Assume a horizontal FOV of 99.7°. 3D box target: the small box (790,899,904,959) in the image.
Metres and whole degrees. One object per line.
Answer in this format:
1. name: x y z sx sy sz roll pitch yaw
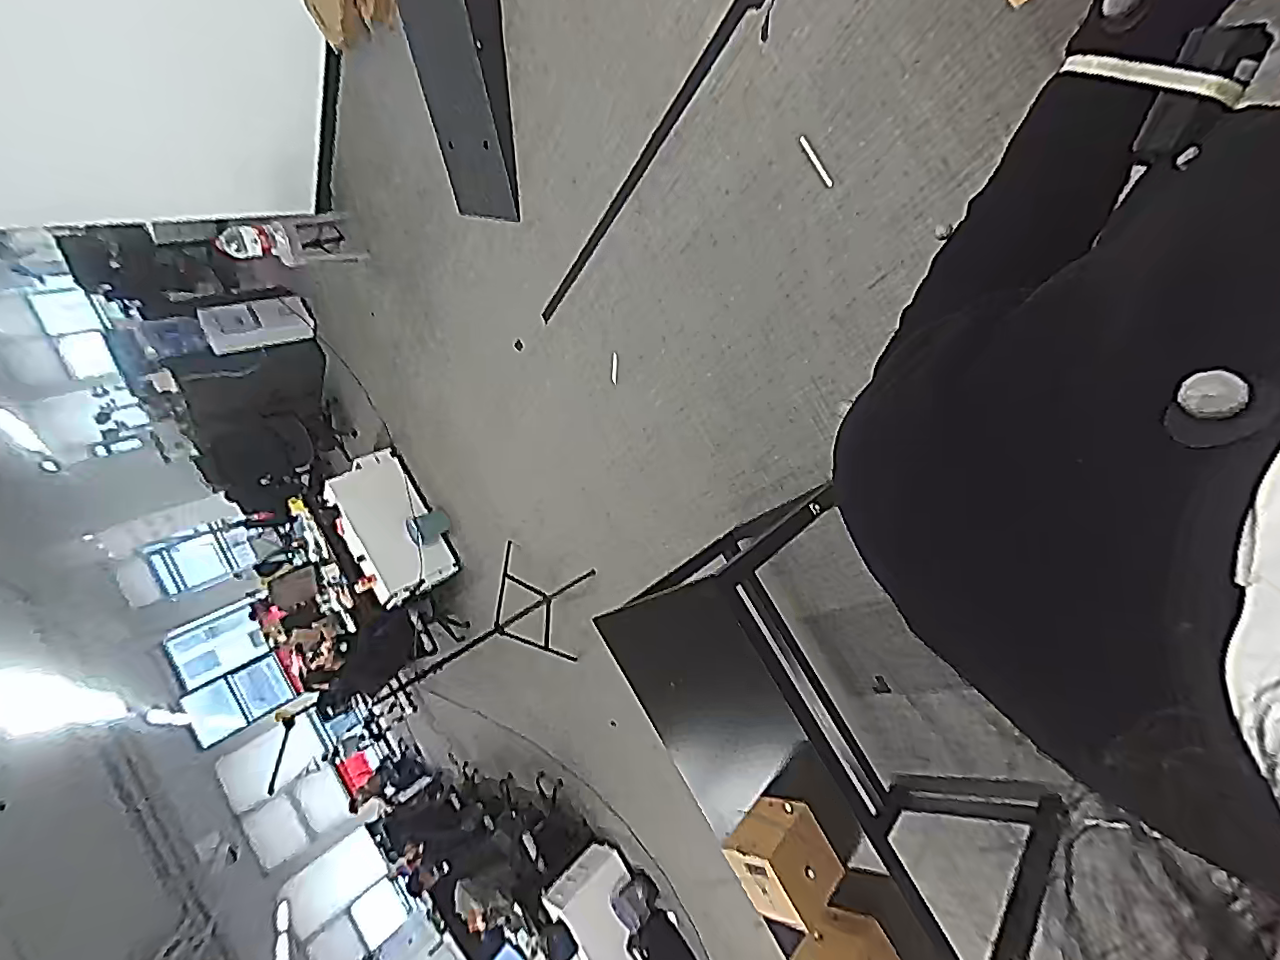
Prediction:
1. small box: 0.490 1.122 1.246 0.179 0.176 0.168 58 143 5

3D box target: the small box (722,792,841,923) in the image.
1. small box: 0.334 0.872 1.272 0.179 0.176 0.168 59 142 2
